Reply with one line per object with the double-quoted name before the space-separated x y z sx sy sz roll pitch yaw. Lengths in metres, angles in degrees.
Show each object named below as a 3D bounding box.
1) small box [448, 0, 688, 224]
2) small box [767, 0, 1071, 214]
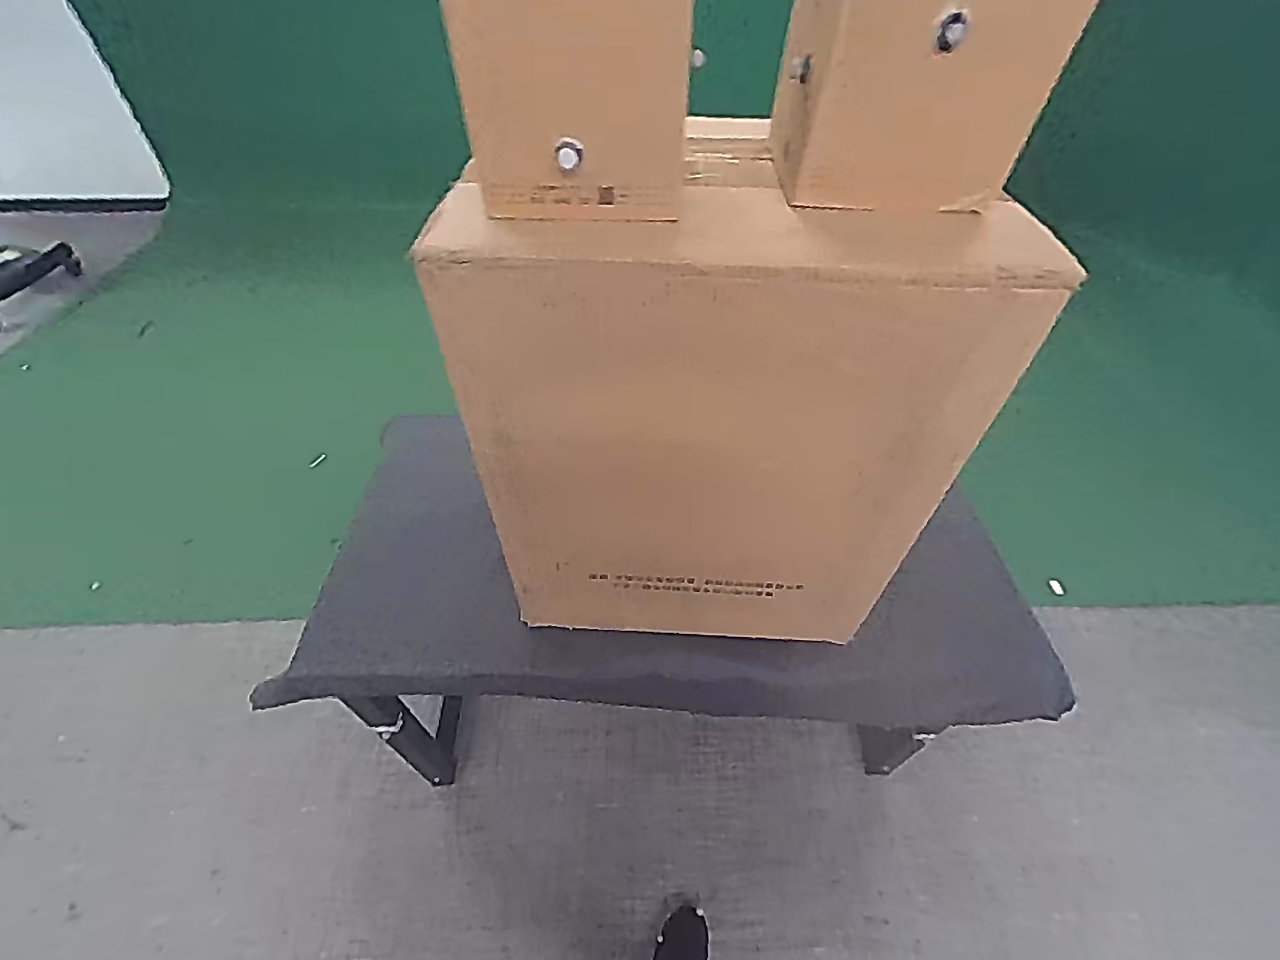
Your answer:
"small box" -0.049 -0.339 0.456 0.168 0.176 0.179 2 50 1
"small box" 0.216 -0.353 0.473 0.179 0.176 0.168 3 51 -2
